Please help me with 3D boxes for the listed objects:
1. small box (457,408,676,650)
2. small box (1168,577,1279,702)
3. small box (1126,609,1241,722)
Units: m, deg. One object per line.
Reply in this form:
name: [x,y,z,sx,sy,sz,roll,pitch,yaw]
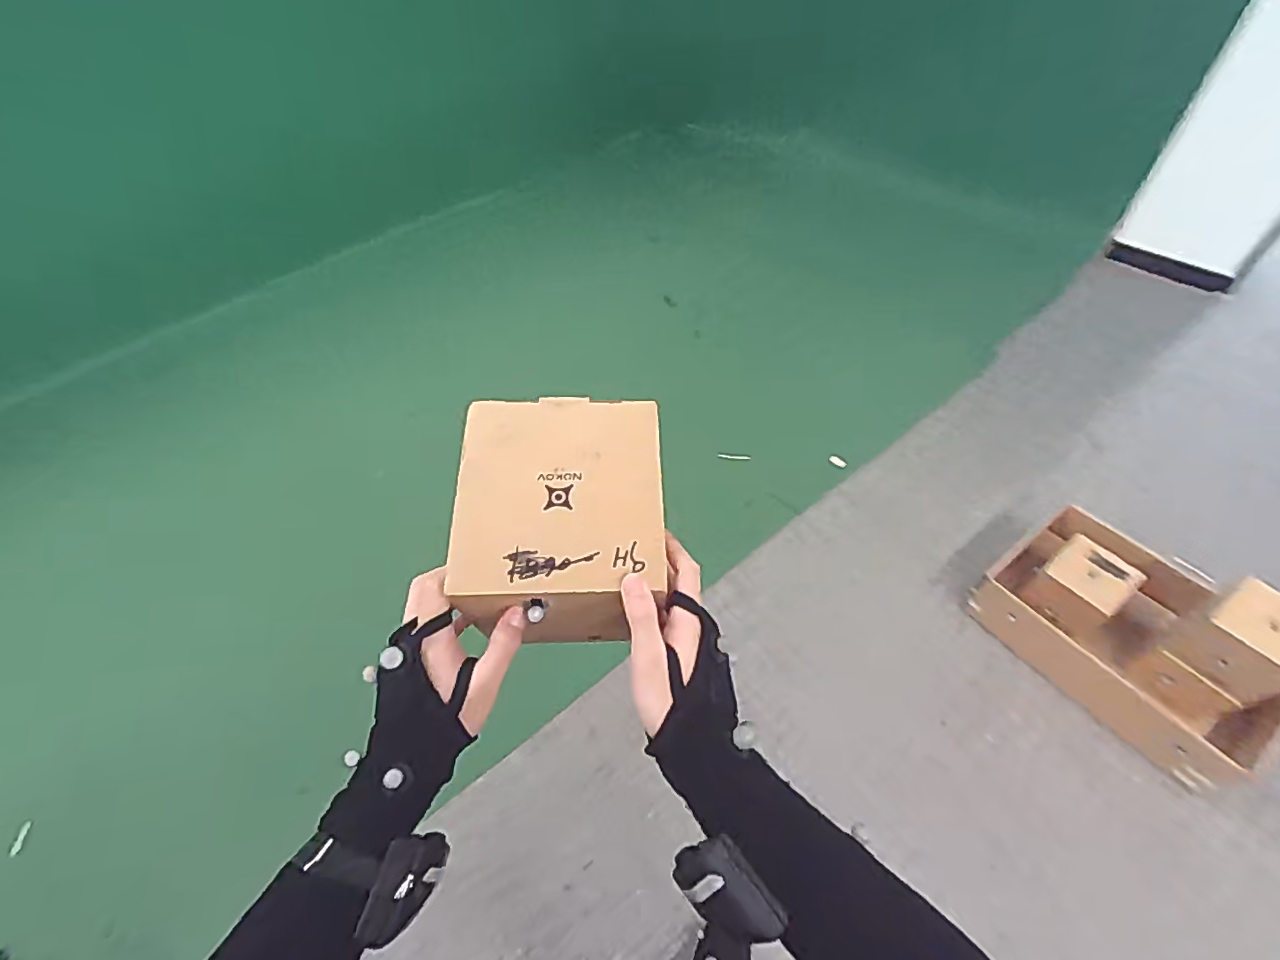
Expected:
small box: [-0.057,0.052,0.510,0.168,0.176,0.179,0,61,-1]
small box: [1.336,0.356,1.192,0.179,0.176,0.168,-32,55,-17]
small box: [1.353,0.458,1.322,0.179,0.176,0.168,-32,54,-16]
